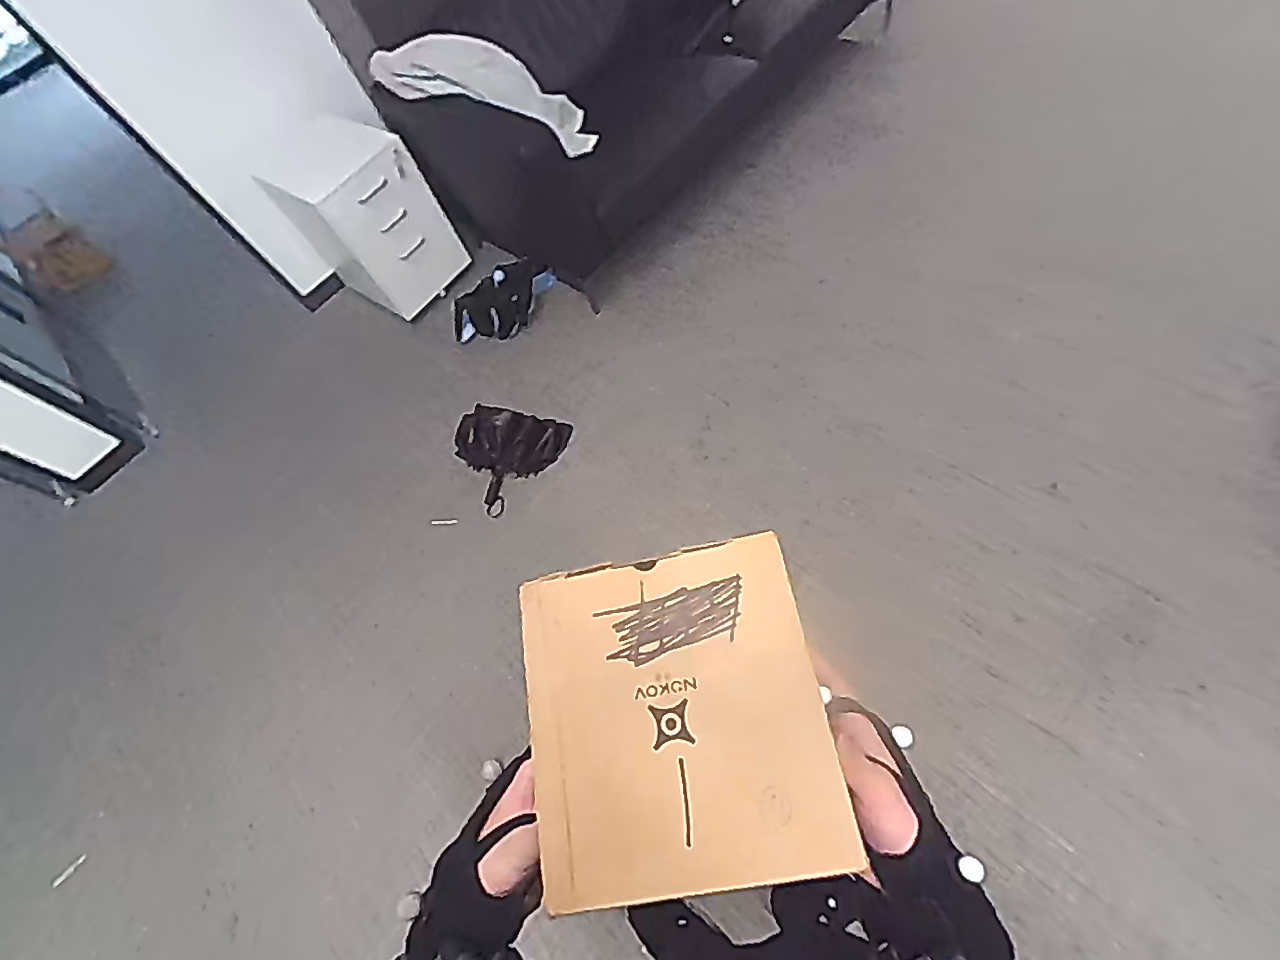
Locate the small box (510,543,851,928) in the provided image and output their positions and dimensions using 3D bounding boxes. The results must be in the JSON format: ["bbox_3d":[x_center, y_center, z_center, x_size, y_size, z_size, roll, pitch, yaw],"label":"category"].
[{"bbox_3d":[0.023,0.164,0.373,0.168,0.176,0.179,-14,65,6],"label":"small box"}]
